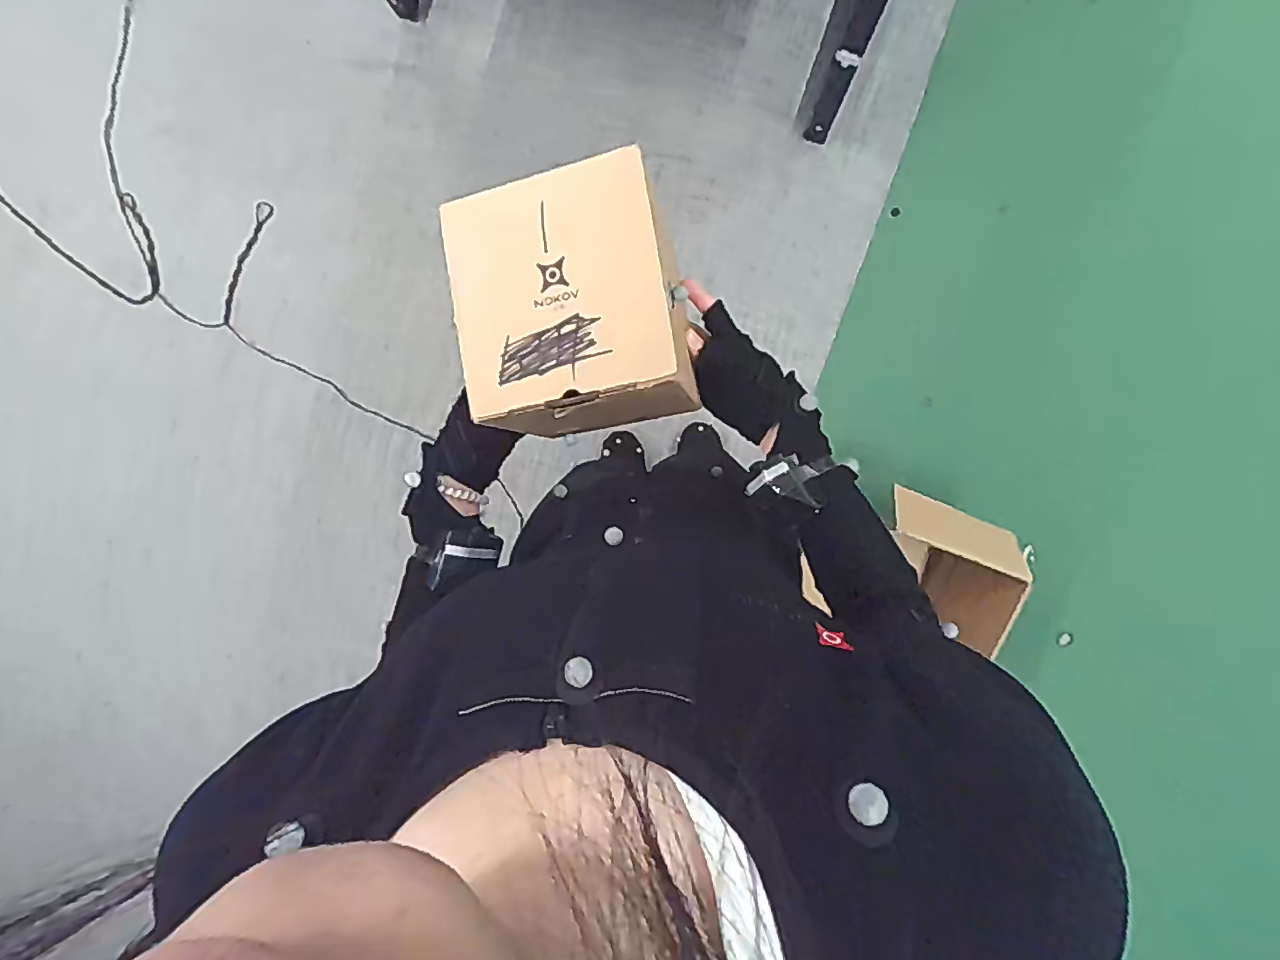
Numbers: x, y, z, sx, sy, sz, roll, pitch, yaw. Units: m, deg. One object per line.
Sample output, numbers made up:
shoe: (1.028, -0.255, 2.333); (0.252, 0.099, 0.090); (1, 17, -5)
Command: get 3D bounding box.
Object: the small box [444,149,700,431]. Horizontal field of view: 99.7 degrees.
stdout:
small box: (-0.045, -0.143, 0.483); (0.168, 0.176, 0.179); (-10, 87, 11)
